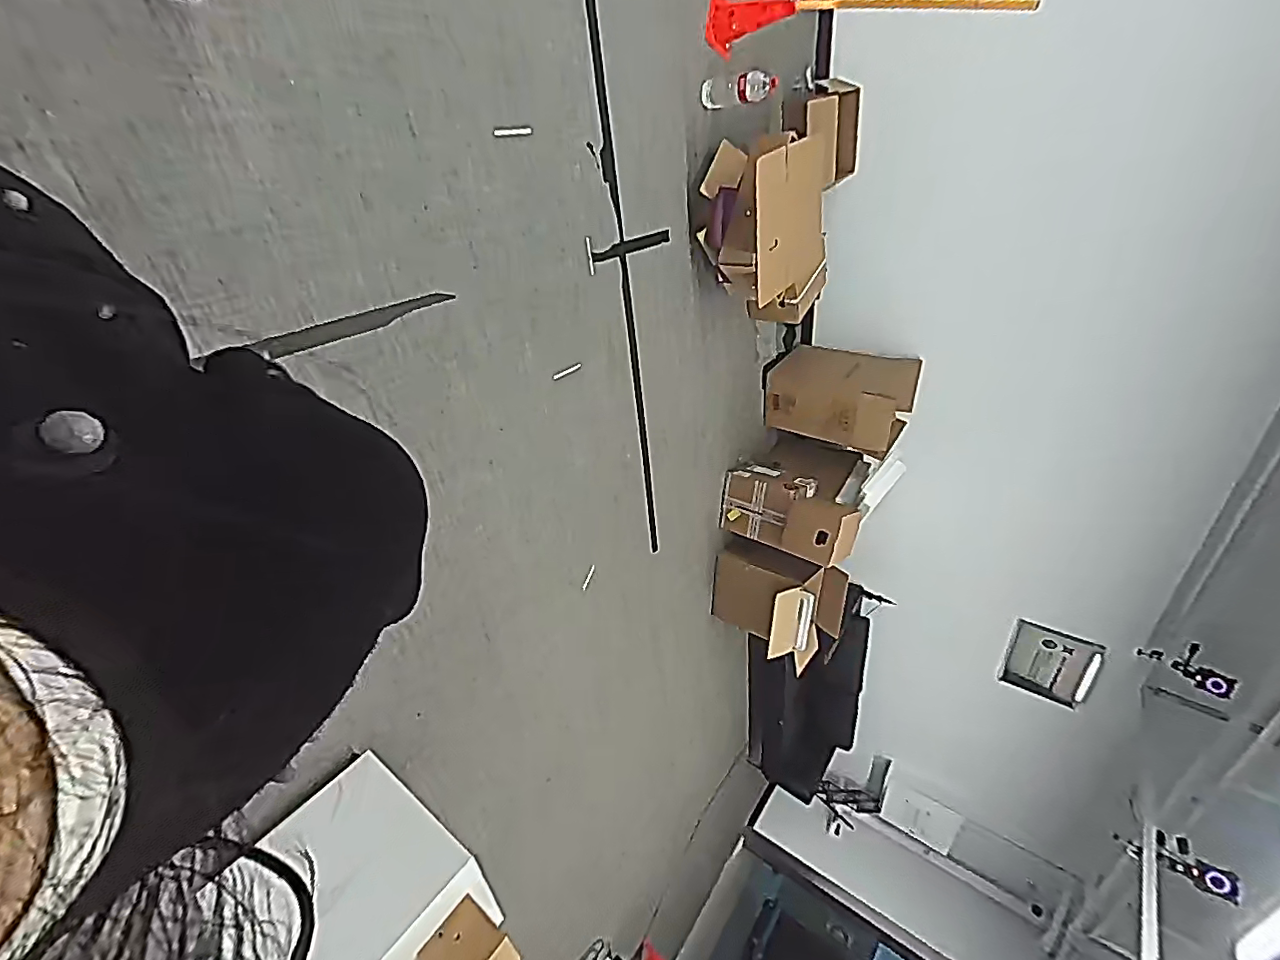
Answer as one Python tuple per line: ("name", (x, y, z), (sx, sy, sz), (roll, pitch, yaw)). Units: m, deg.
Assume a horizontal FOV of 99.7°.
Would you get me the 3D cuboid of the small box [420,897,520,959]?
("small box", (-0.454, 1.274, 1.447), (0.168, 0.176, 0.179), (-40, 134, -40))
